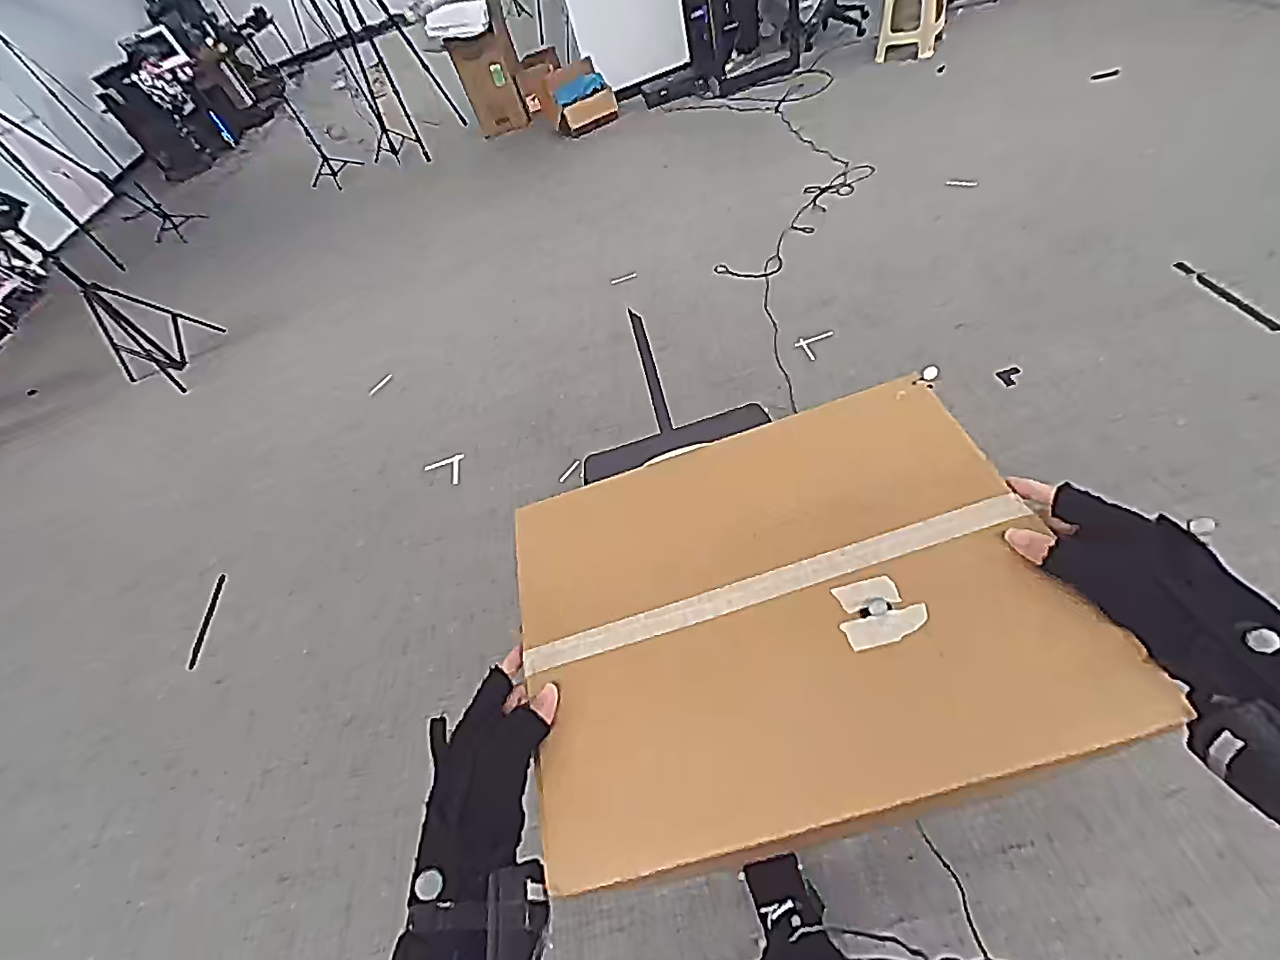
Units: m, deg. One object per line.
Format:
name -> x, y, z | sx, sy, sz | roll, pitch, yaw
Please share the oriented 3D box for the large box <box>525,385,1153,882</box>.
large box -> 0.139, 0.172, 0.555 | 0.408, 0.320, 0.320 | -19, 52, 4
